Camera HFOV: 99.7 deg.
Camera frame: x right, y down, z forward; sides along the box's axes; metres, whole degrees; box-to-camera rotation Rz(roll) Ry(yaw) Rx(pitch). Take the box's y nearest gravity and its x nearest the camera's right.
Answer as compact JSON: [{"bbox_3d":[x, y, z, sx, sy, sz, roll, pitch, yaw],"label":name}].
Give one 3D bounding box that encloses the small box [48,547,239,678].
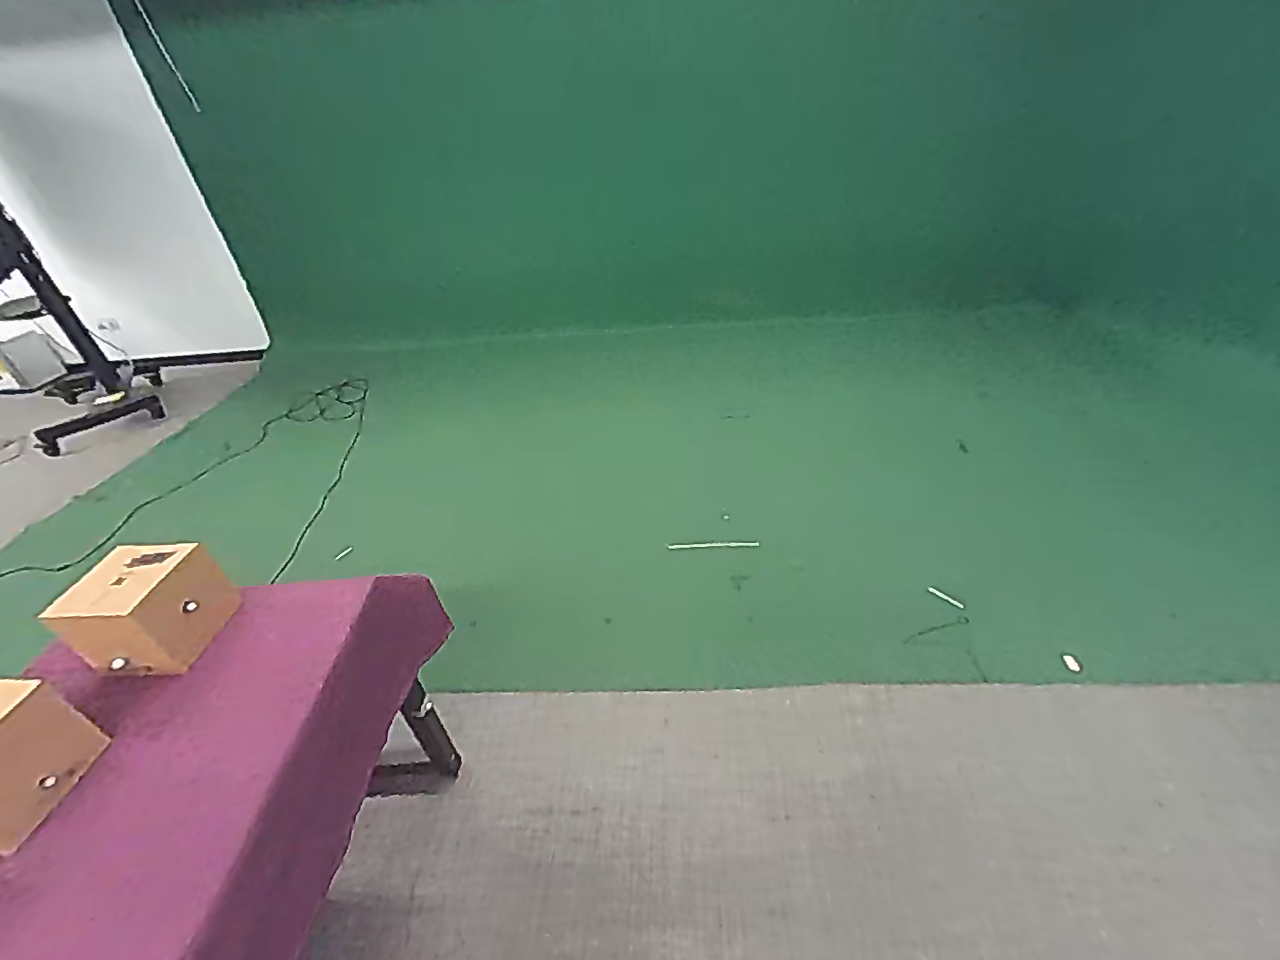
[{"bbox_3d":[-0.904,0.247,1.013,0.168,0.176,0.179,-3,37,4],"label":"small box"}]
